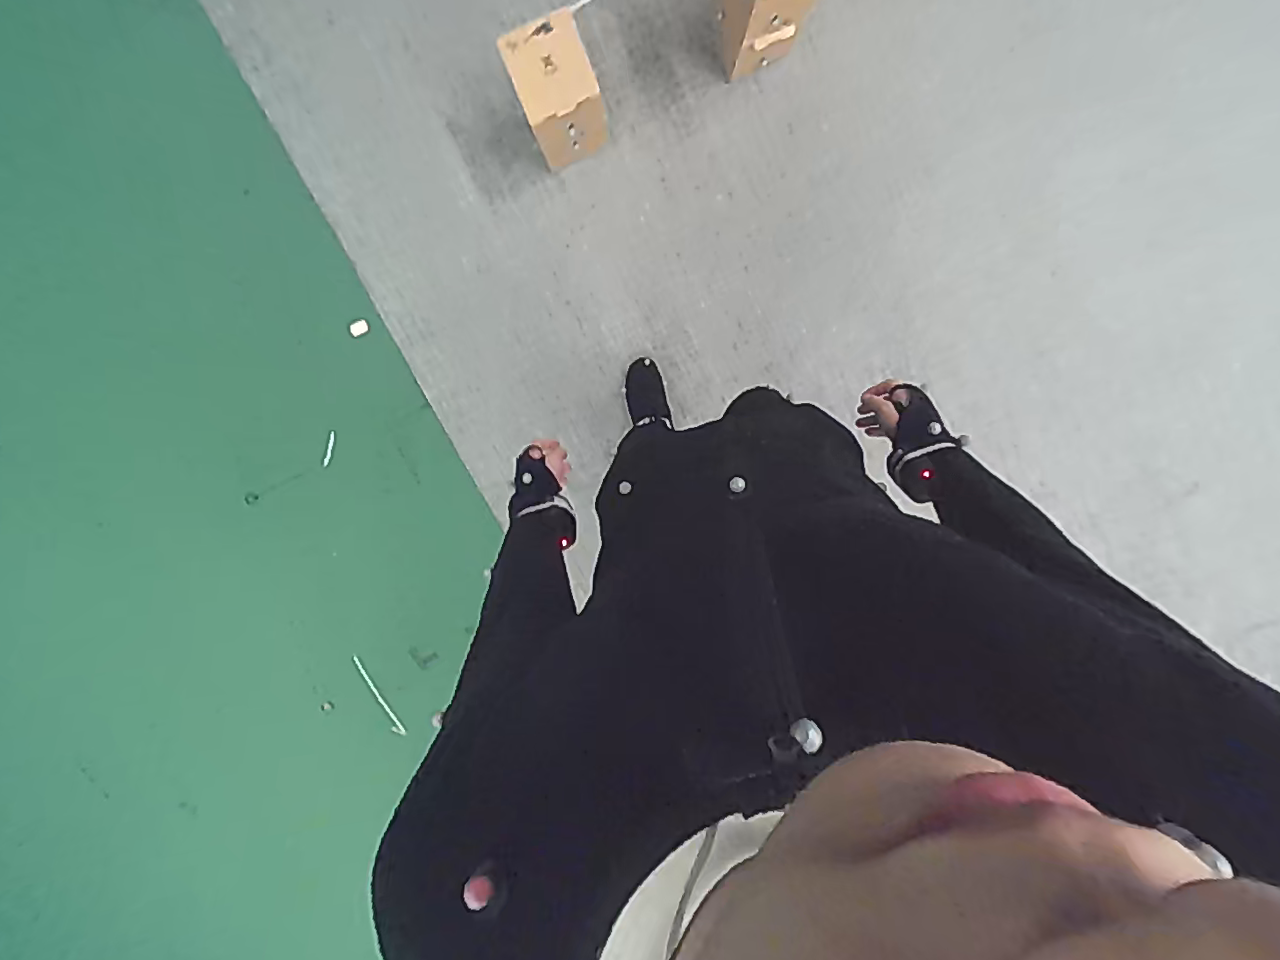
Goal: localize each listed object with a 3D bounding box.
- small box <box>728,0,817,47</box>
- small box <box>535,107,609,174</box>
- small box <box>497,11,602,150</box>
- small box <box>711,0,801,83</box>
[{"bbox_3d":[0.281,-1.093,1.158,0.168,0.176,0.179,-21,102,3],"label":"small box"},{"bbox_3d":[-0.188,-0.907,1.360,0.179,0.176,0.168,-21,102,4],"label":"small box"},{"bbox_3d":[-0.190,-0.868,1.201,0.168,0.176,0.179,-22,102,4],"label":"small box"},{"bbox_3d":[0.275,-1.120,1.316,0.168,0.176,0.179,-14,102,5],"label":"small box"}]
